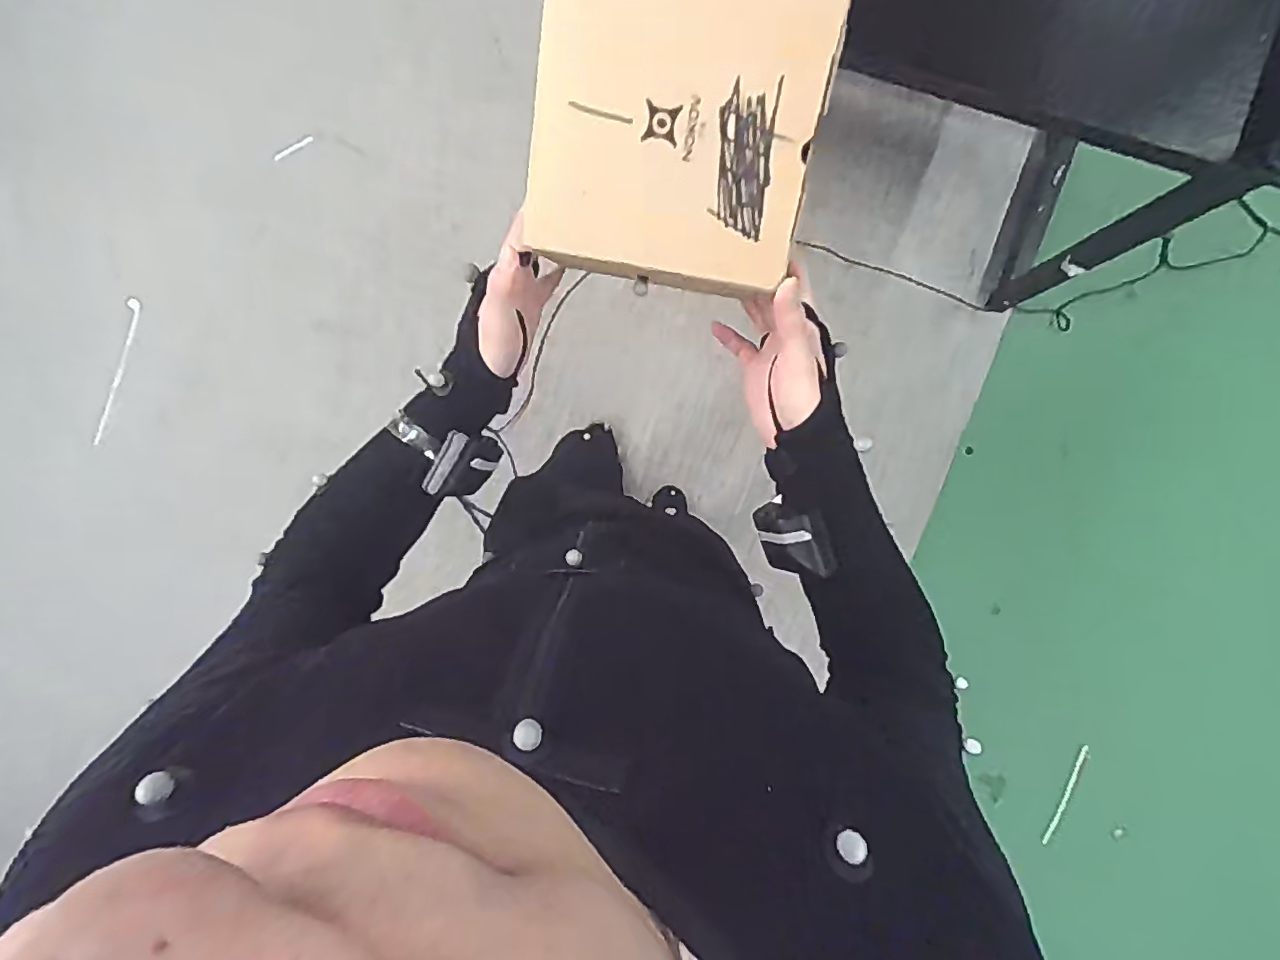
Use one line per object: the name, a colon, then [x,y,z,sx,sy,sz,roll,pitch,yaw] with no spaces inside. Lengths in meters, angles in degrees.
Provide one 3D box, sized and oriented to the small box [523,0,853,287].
small box: [0.025,-0.244,0.403,0.179,0.176,0.168,10,108,-1]
